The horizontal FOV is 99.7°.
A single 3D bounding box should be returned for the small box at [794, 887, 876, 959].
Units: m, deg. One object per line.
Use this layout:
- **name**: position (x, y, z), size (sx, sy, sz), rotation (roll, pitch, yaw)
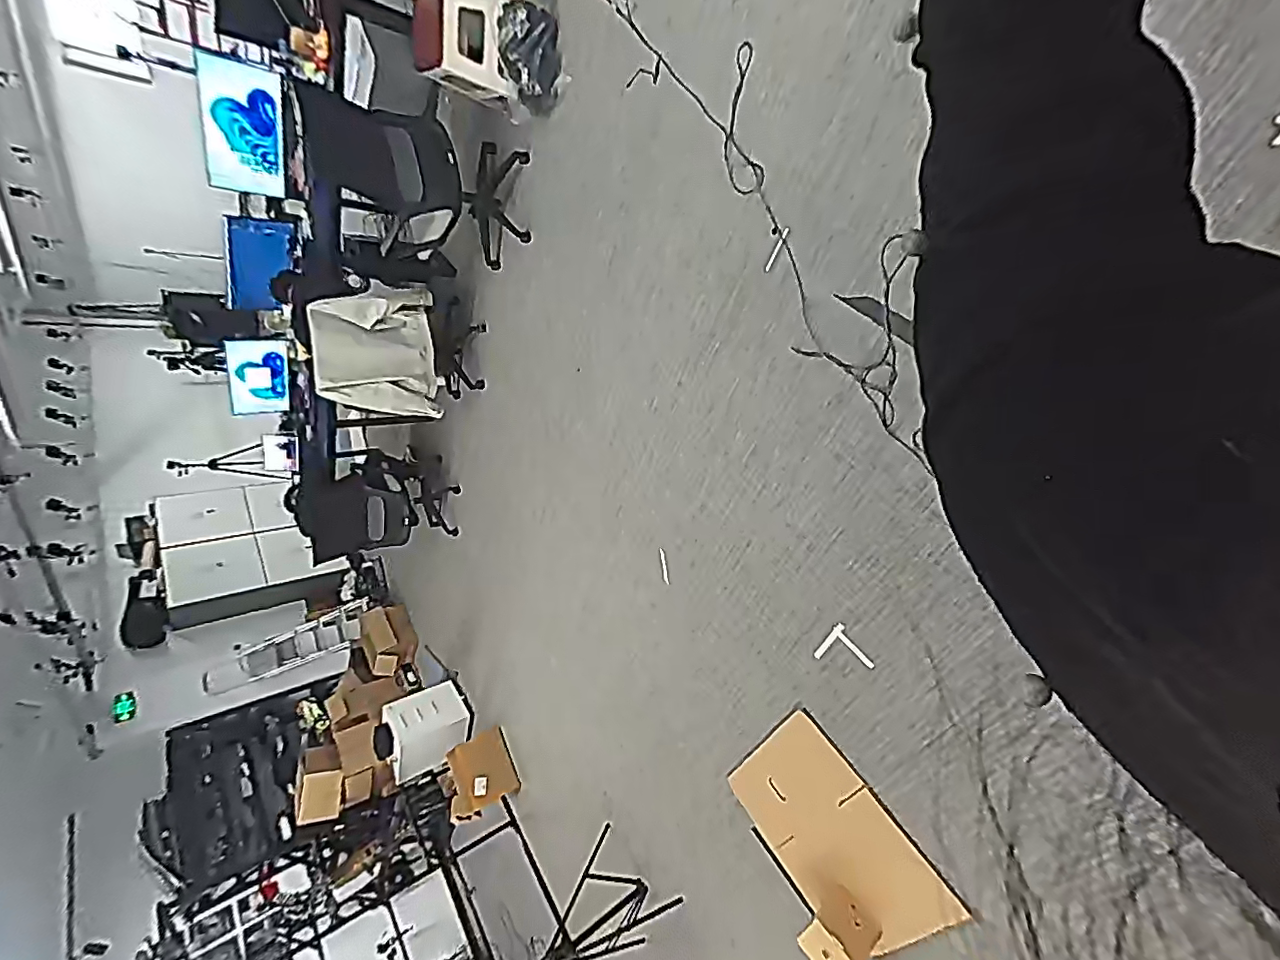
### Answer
- **small box**: position (0.653, 1.523, 1.805), size (0.168, 0.176, 0.179), rotation (40, 126, 36)
